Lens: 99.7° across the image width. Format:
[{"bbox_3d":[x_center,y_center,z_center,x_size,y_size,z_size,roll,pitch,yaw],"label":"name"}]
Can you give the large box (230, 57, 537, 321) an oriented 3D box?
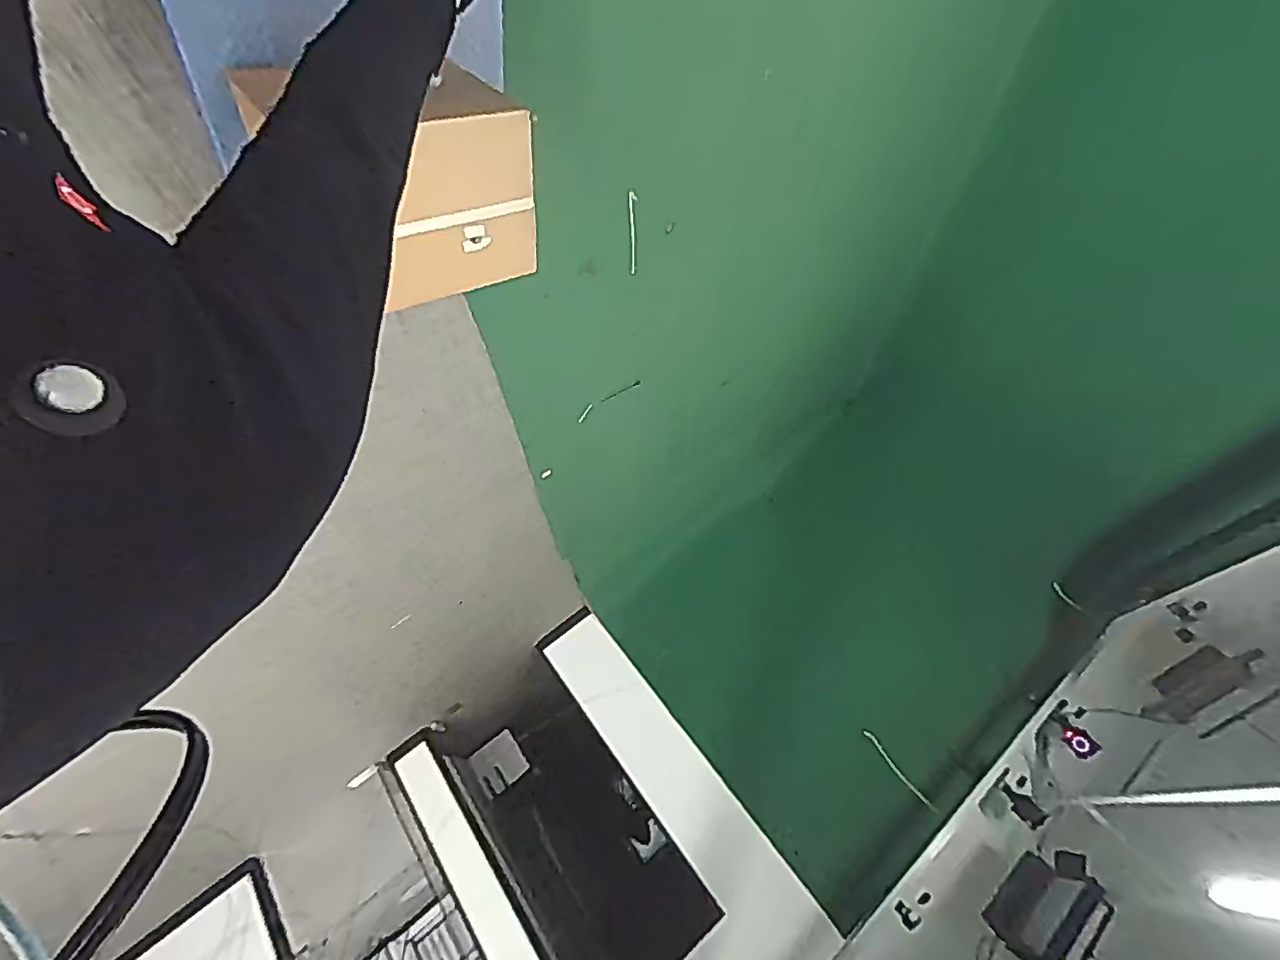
[{"bbox_3d":[-0.458,-0.572,1.042,0.408,0.320,0.320,-30,152,-28],"label":"large box"}]
